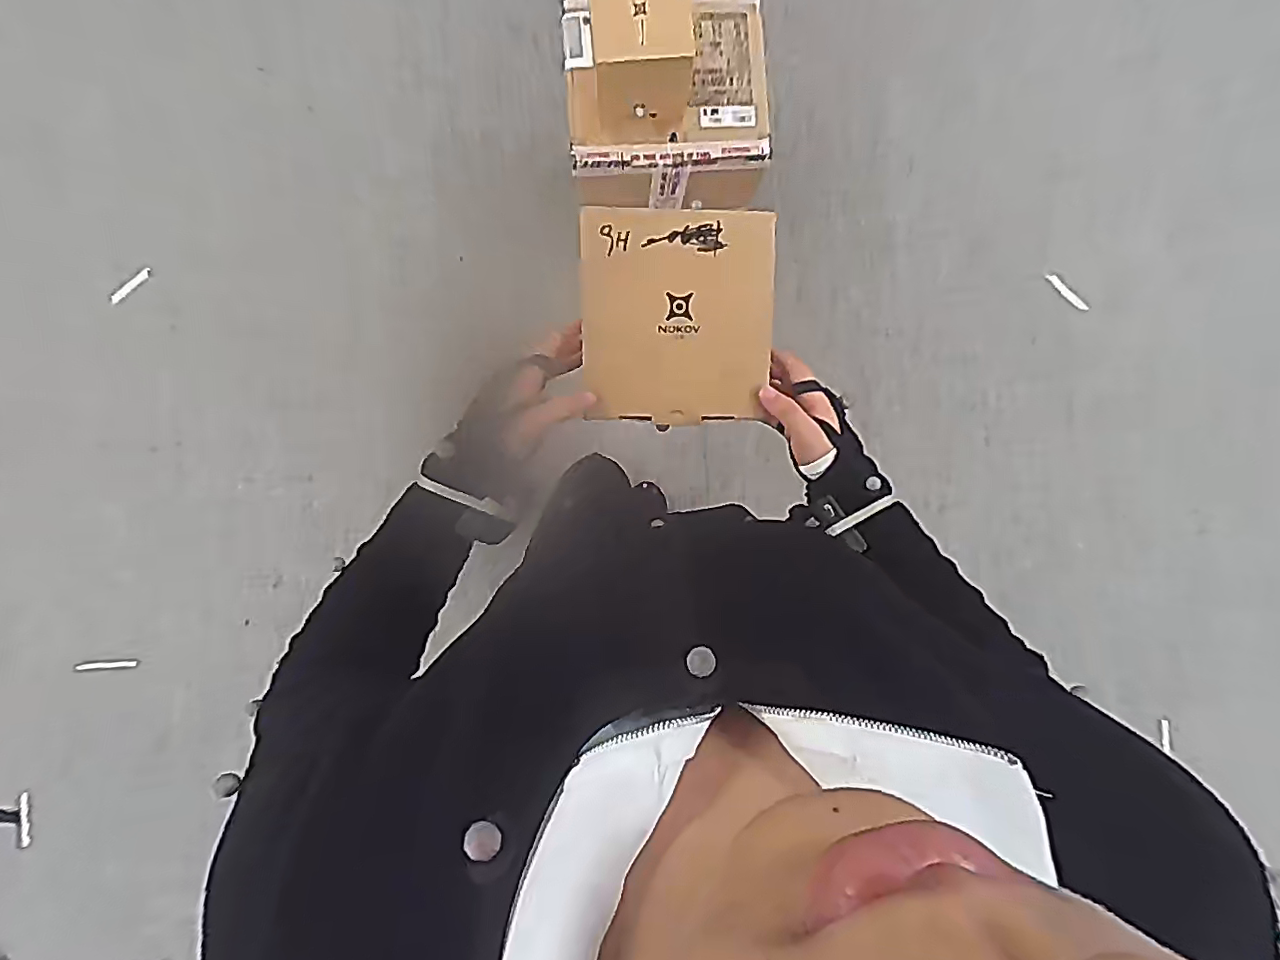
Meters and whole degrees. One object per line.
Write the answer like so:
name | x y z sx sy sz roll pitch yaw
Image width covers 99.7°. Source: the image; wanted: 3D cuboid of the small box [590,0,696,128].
small box | 0.000 -0.755 0.941 0.168 0.176 0.179 -5 93 -1
